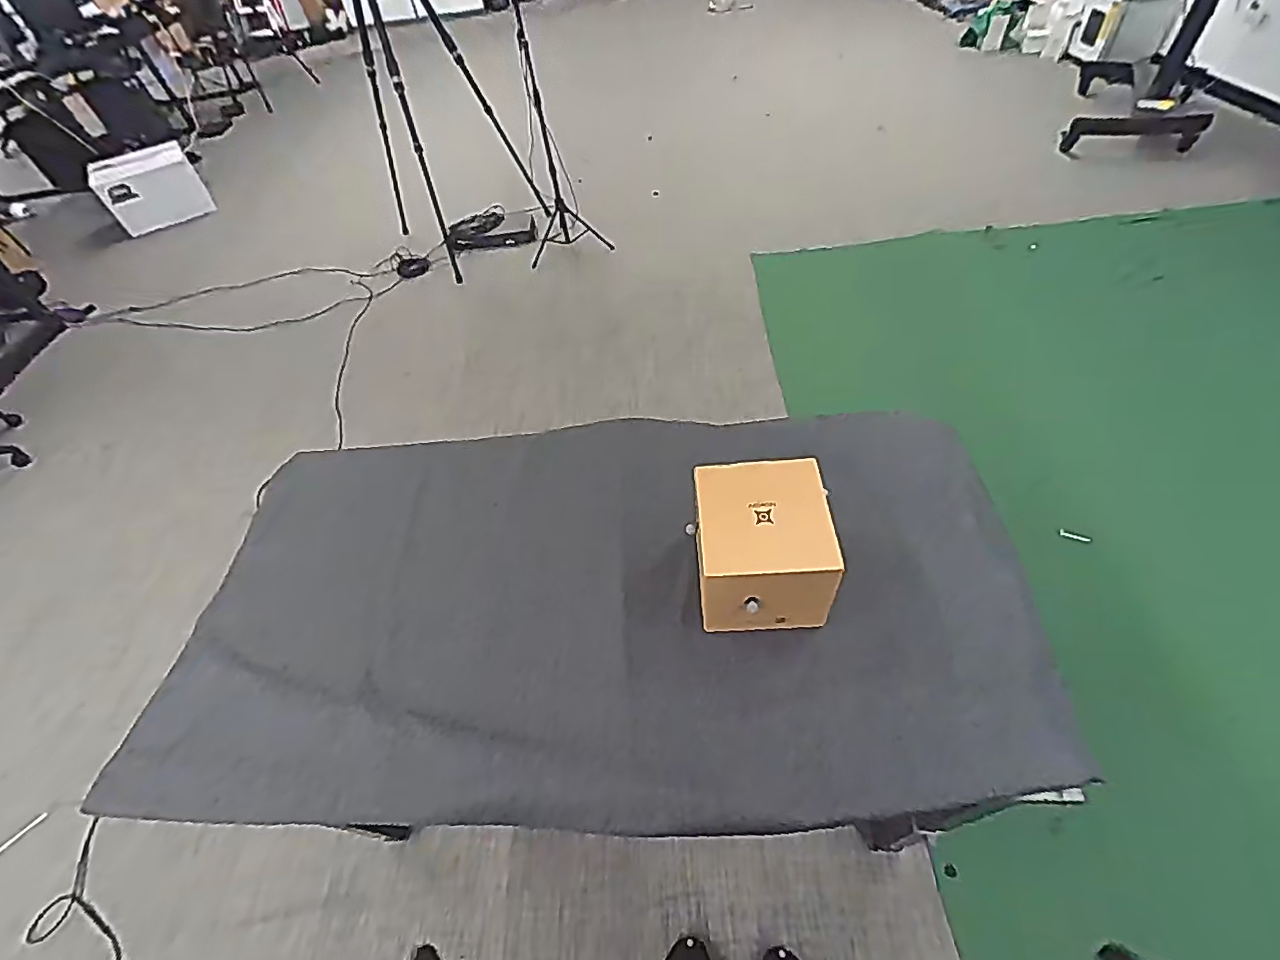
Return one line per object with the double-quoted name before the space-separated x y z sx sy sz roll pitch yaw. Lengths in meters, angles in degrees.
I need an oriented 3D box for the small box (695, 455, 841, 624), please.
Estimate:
"small box" 0.166 0.089 0.746 0.168 0.176 0.179 -4 50 5
